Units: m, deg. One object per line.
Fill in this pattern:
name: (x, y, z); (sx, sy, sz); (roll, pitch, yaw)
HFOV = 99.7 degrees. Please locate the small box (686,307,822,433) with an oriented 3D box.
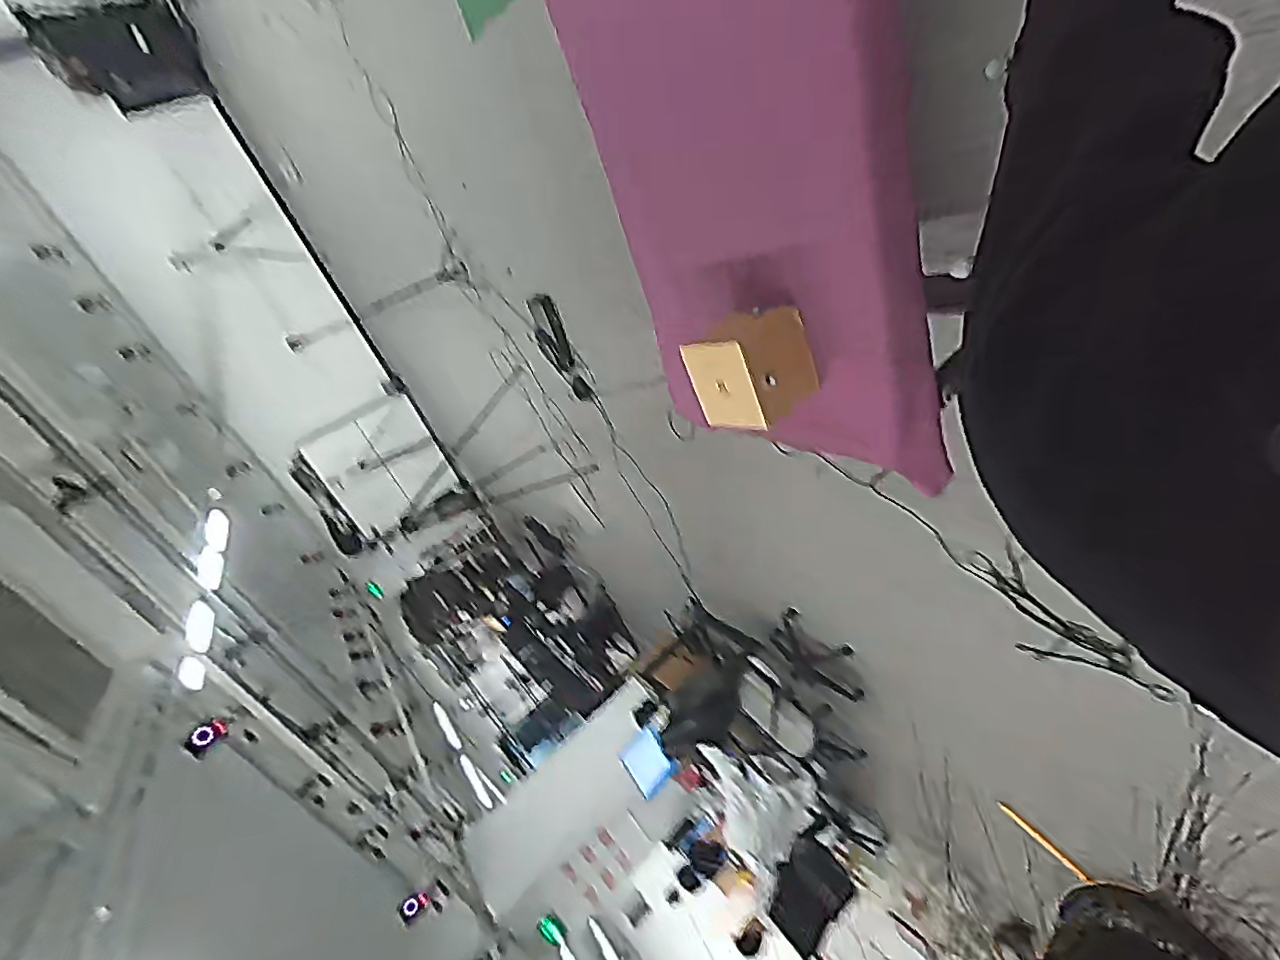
small box: (0.226, -0.213, 1.050); (0.168, 0.176, 0.179); (14, 135, 55)
